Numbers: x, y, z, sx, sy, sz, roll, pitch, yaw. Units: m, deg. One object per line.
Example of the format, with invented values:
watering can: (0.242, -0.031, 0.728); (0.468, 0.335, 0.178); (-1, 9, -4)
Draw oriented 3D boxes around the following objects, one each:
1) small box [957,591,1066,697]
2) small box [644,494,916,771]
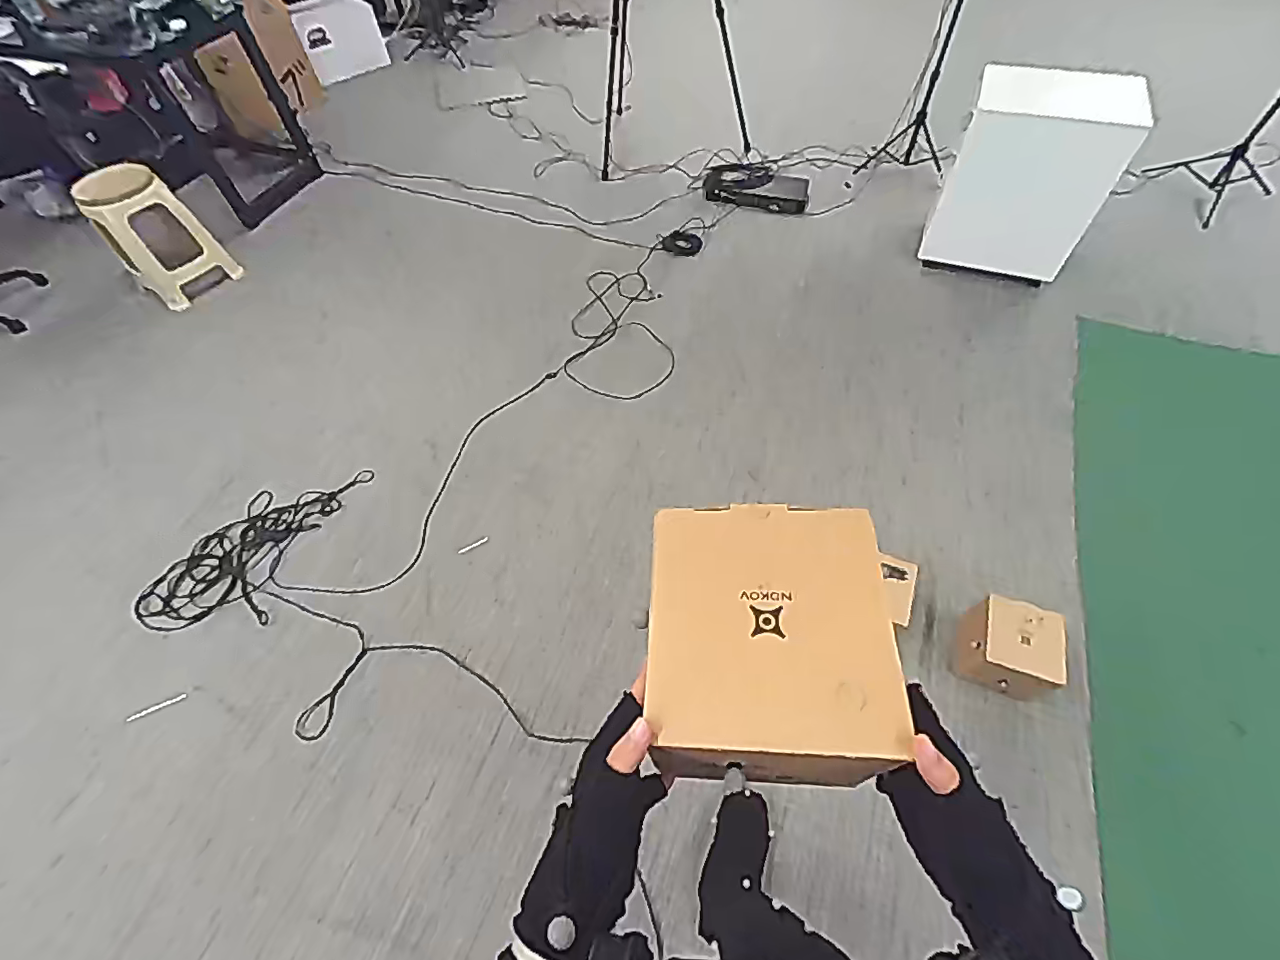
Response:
small box: (0.897, 0.404, 1.315); (0.168, 0.176, 0.179); (17, 59, 14)
small box: (0.098, 0.128, 0.439); (0.168, 0.176, 0.179); (0, 56, 7)
